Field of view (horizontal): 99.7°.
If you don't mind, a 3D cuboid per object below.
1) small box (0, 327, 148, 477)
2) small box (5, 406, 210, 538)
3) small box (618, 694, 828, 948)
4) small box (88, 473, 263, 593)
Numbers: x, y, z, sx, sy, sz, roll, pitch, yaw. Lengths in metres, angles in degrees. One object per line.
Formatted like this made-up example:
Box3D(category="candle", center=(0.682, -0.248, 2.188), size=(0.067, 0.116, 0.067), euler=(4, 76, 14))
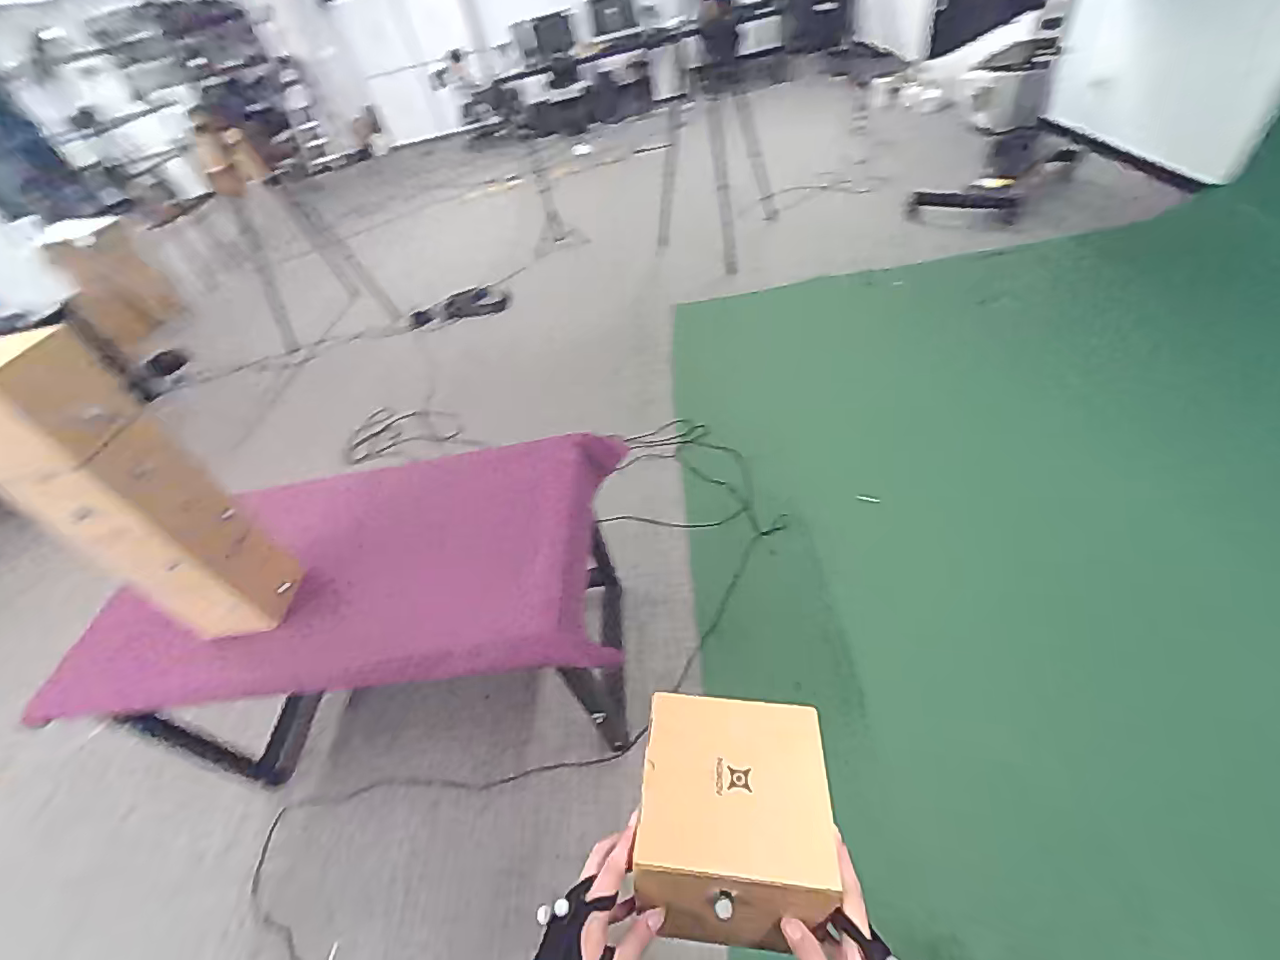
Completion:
Box3D(category="small box", center=(-0.987, -0.122, 0.882), size=(0.179, 0.176, 0.168), euler=(-9, 43, 5))
Box3D(category="small box", center=(-0.958, -0.008, 0.997), size=(0.168, 0.176, 0.179), euler=(-9, 44, 5))
Box3D(category="small box", center=(0.079, 0.349, 0.559), size=(0.179, 0.176, 0.168), euler=(1, 34, 7))
Box3D(category="small box", center=(-0.928, 0.112, 1.104), size=(0.179, 0.176, 0.168), euler=(-9, 43, 7))
